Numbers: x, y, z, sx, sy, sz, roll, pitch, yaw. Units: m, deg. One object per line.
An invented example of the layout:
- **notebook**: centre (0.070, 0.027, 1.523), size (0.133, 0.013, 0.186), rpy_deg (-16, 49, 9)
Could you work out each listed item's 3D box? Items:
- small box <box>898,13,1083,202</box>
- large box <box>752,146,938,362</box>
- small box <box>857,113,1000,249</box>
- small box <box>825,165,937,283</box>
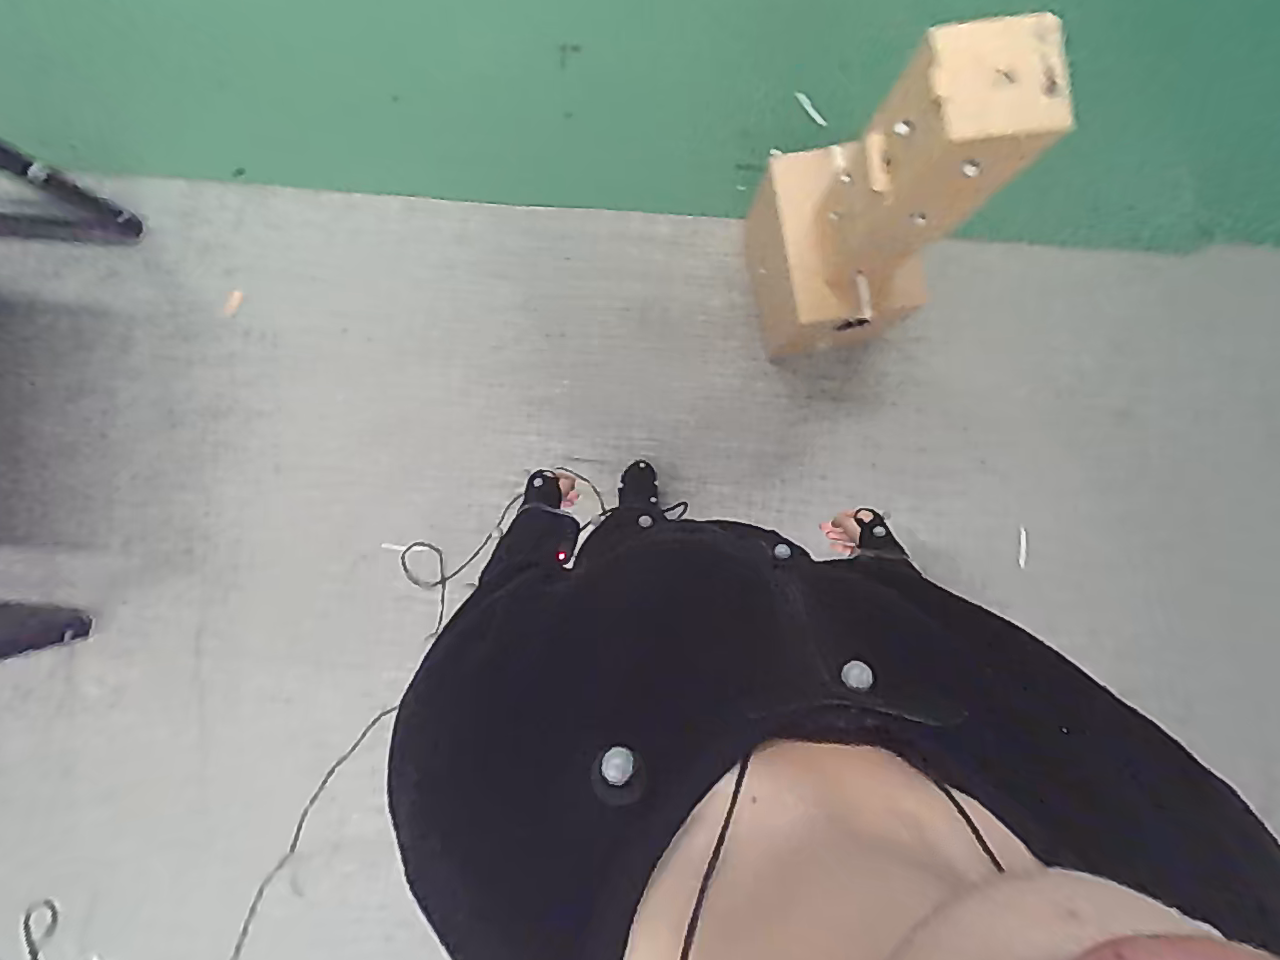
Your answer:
- **small box**: centre (0.512, -0.547, 0.820), size (0.179, 0.176, 0.168), rpy_deg (-6, 88, 2)
- **large box**: centre (0.499, -0.561, 1.393), size (0.320, 0.320, 0.408), rpy_deg (-9, 87, -2)
- **small box**: centre (0.510, -0.538, 0.984), size (0.179, 0.176, 0.168), rpy_deg (-4, 88, 1)
- **small box**: centre (0.505, -0.542, 1.148), size (0.168, 0.176, 0.179), rpy_deg (-6, 89, 1)
